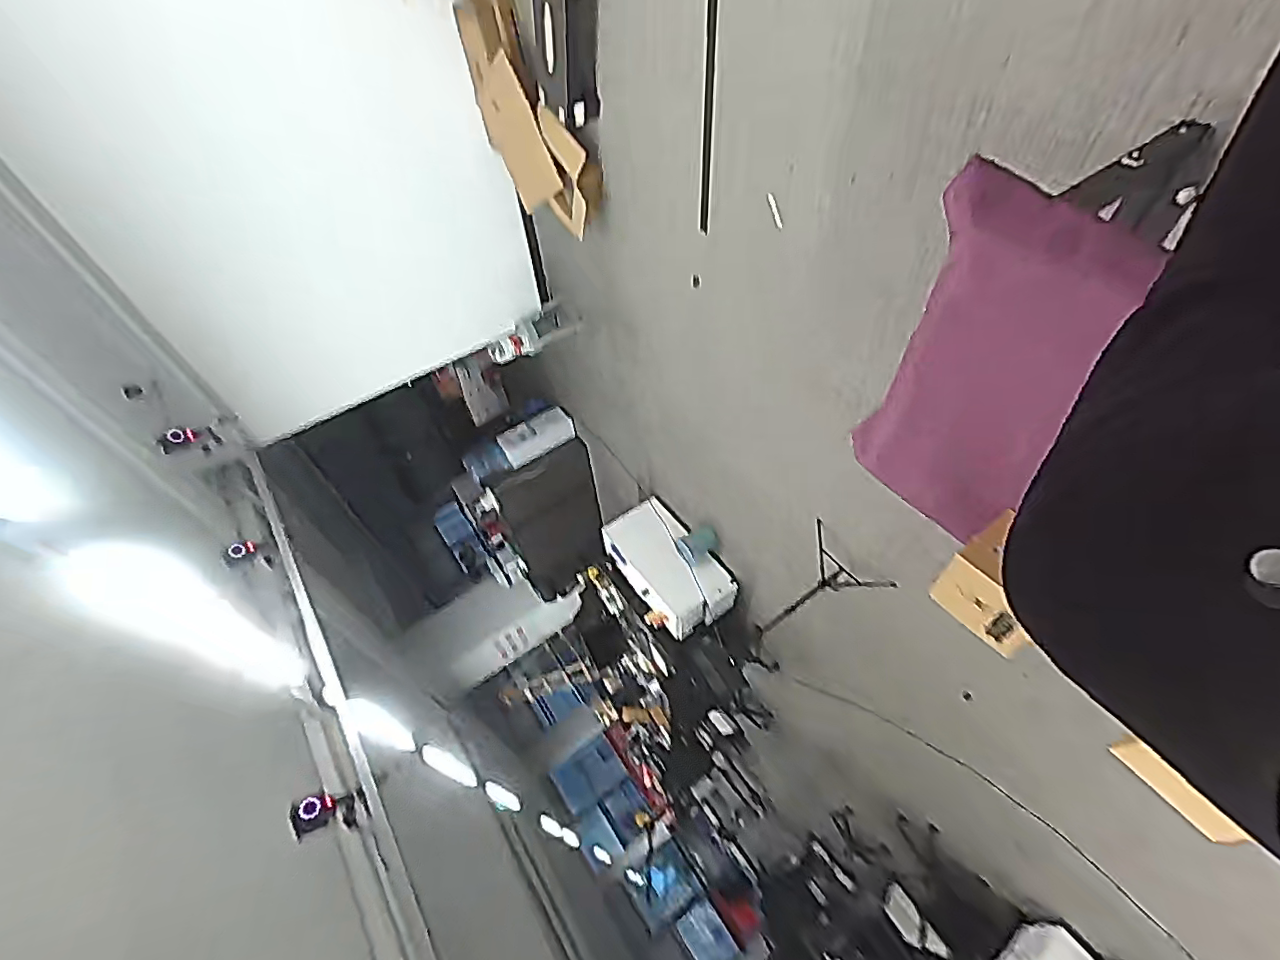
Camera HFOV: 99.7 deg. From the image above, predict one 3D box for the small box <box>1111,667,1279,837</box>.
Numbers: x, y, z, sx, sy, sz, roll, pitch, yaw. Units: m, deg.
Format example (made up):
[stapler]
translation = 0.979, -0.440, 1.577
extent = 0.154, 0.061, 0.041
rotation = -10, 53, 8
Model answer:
[small box]
translation = 0.929, 0.431, 0.859
extent = 0.168, 0.176, 0.179
rotation = 48, 159, 29
